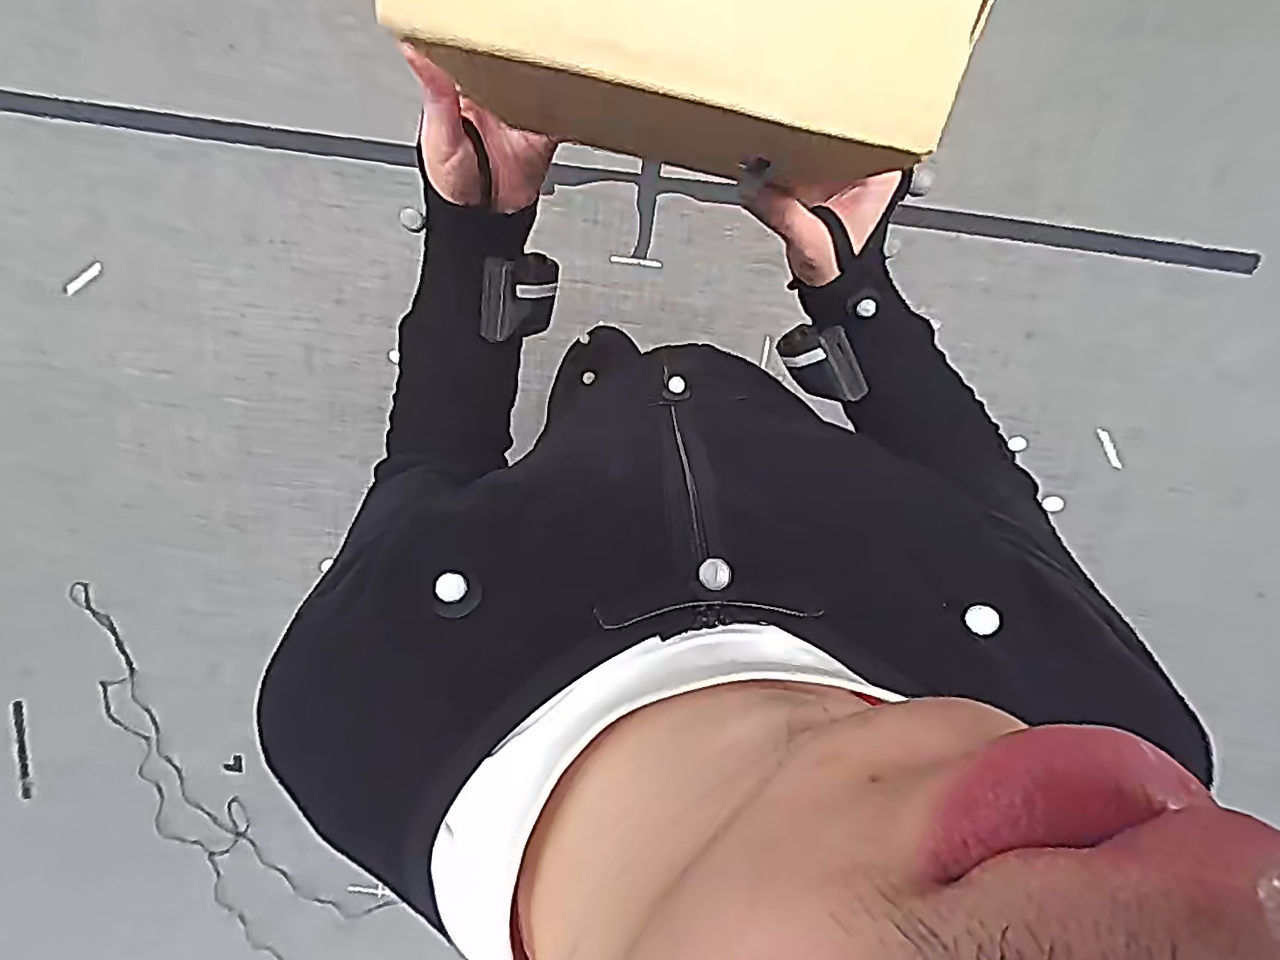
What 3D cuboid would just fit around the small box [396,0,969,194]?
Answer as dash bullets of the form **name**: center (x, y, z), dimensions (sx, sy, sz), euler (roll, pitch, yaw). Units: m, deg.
- **small box**: center (0.022, -0.224, 0.220), dimensions (0.179, 0.176, 0.168), euler (10, 113, -3)
